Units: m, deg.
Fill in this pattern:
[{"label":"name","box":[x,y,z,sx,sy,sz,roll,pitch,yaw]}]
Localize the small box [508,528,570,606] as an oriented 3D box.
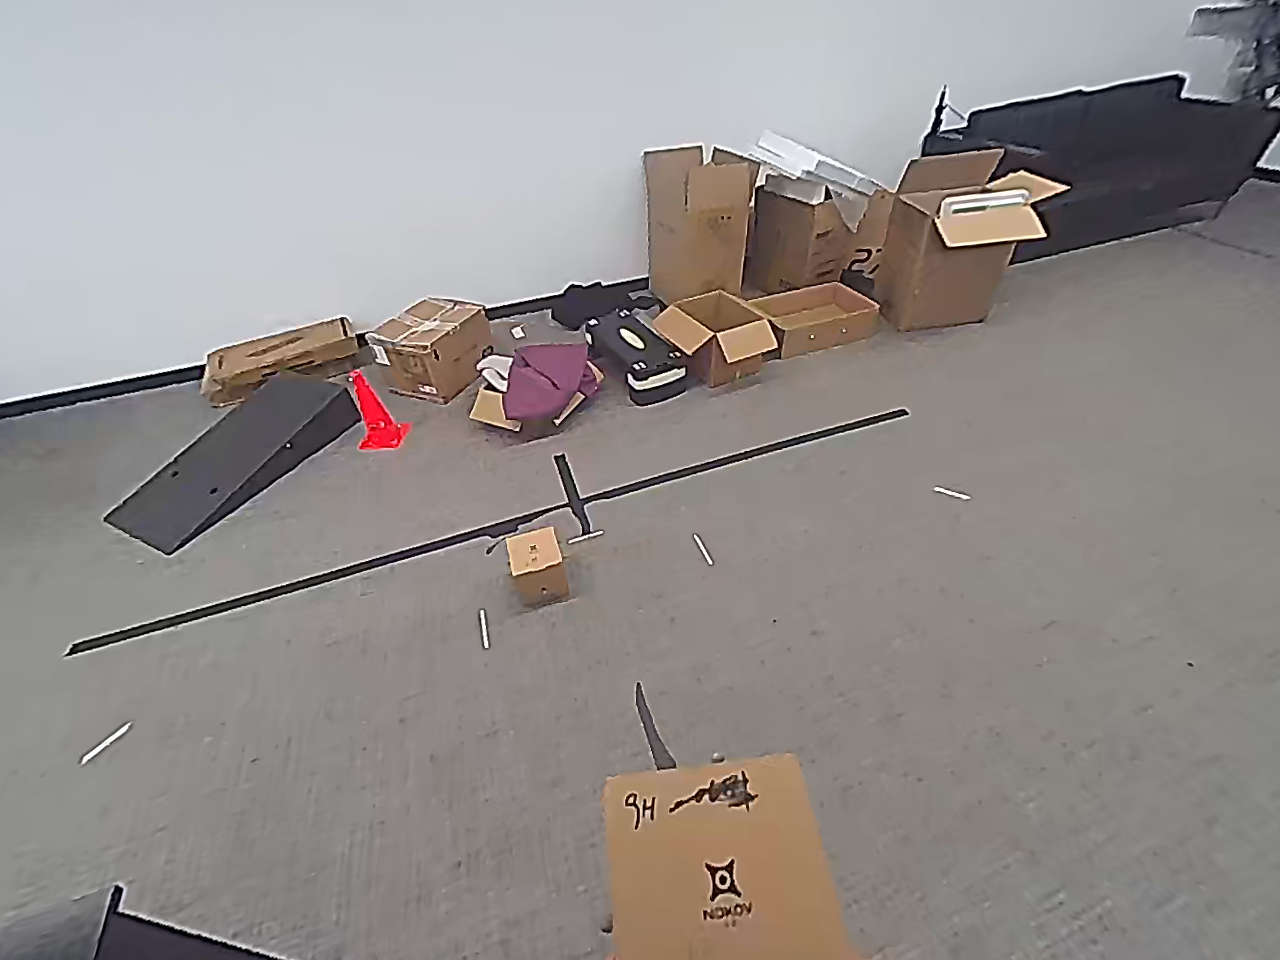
[{"label":"small box","box":[-0.345,0.298,1.850,0.168,0.176,0.179,-15,43,-11]}]
